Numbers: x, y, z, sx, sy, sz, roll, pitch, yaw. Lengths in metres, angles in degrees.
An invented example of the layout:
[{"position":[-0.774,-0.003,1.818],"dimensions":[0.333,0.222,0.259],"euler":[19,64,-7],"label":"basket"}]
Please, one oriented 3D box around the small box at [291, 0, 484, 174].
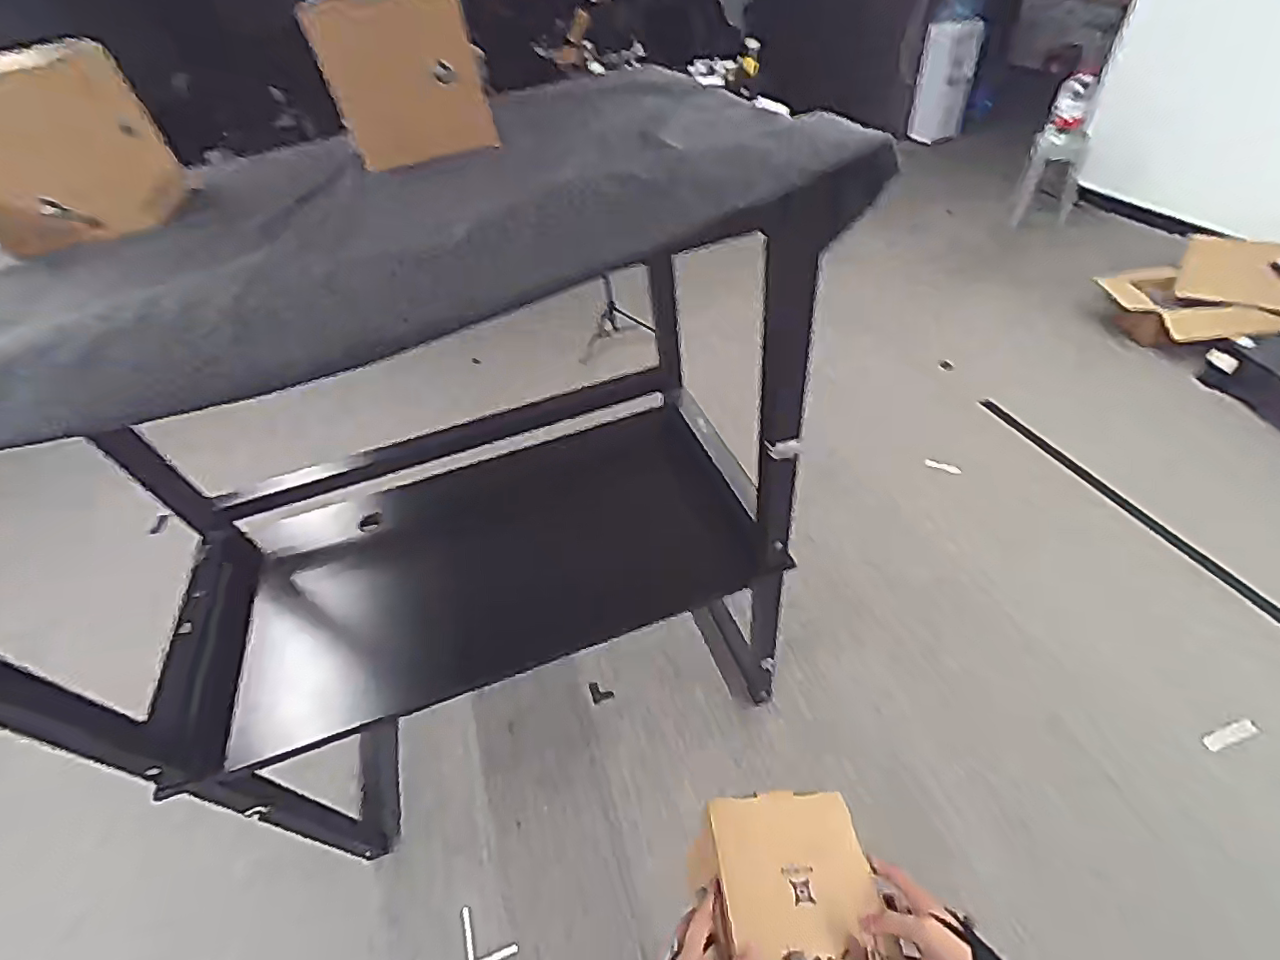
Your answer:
[{"position":[-0.316,-0.532,0.717],"dimensions":[0.179,0.176,0.168],"euler":[-17,46,-7],"label":"small box"}]
